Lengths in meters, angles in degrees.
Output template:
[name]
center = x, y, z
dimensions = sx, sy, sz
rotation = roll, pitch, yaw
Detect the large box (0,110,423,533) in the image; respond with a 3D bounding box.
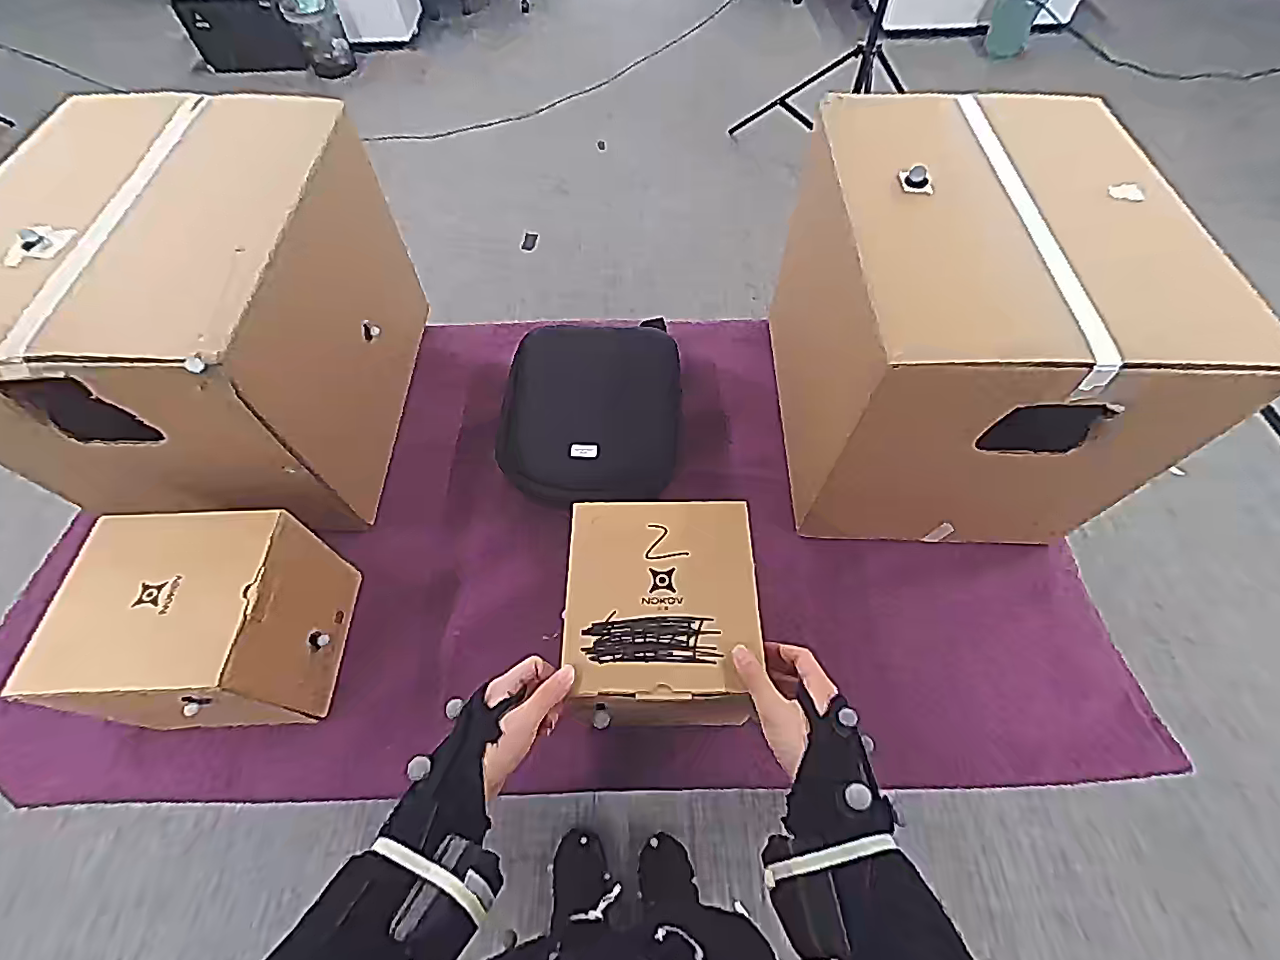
[large box]
center = -0.490, -0.176, 0.658
dimensions = 0.320, 0.320, 0.408
rotation = -1, 61, -1

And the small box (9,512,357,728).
[small box]
center = -0.423, 0.146, 0.544
dimensions = 0.179, 0.176, 0.168
rotation = -3, 57, -2
